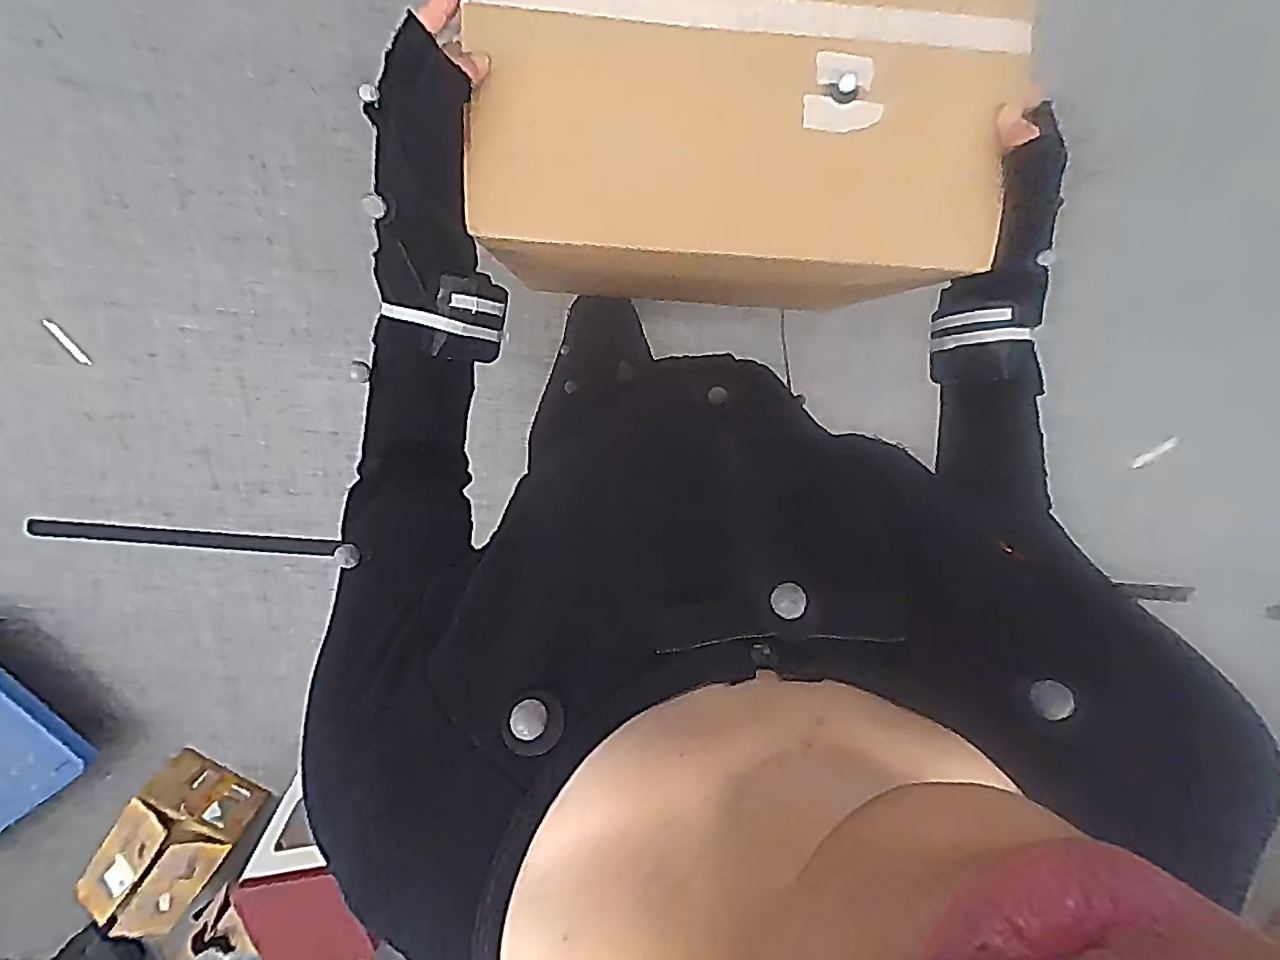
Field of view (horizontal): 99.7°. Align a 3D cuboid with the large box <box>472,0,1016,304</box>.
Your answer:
[{"bbox_3d":[0.067,-0.362,0.538,0.408,0.320,0.320,2,101,-4],"label":"large box"}]
